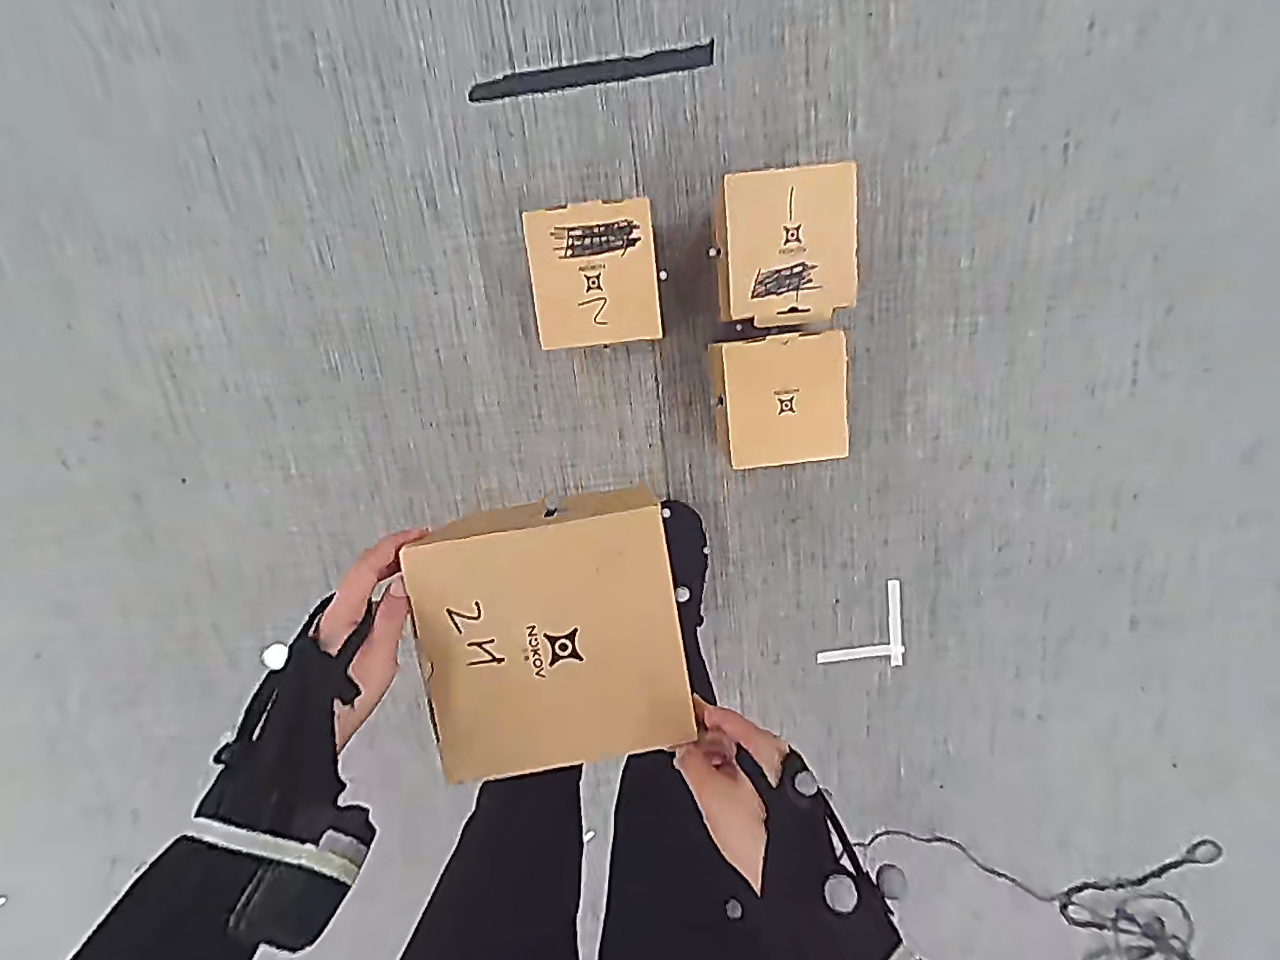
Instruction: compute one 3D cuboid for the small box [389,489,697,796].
[{"bbox_3d":[-0.063,0.105,0.427,0.179,0.176,0.168,-10,94,-1],"label":"small box"}]
